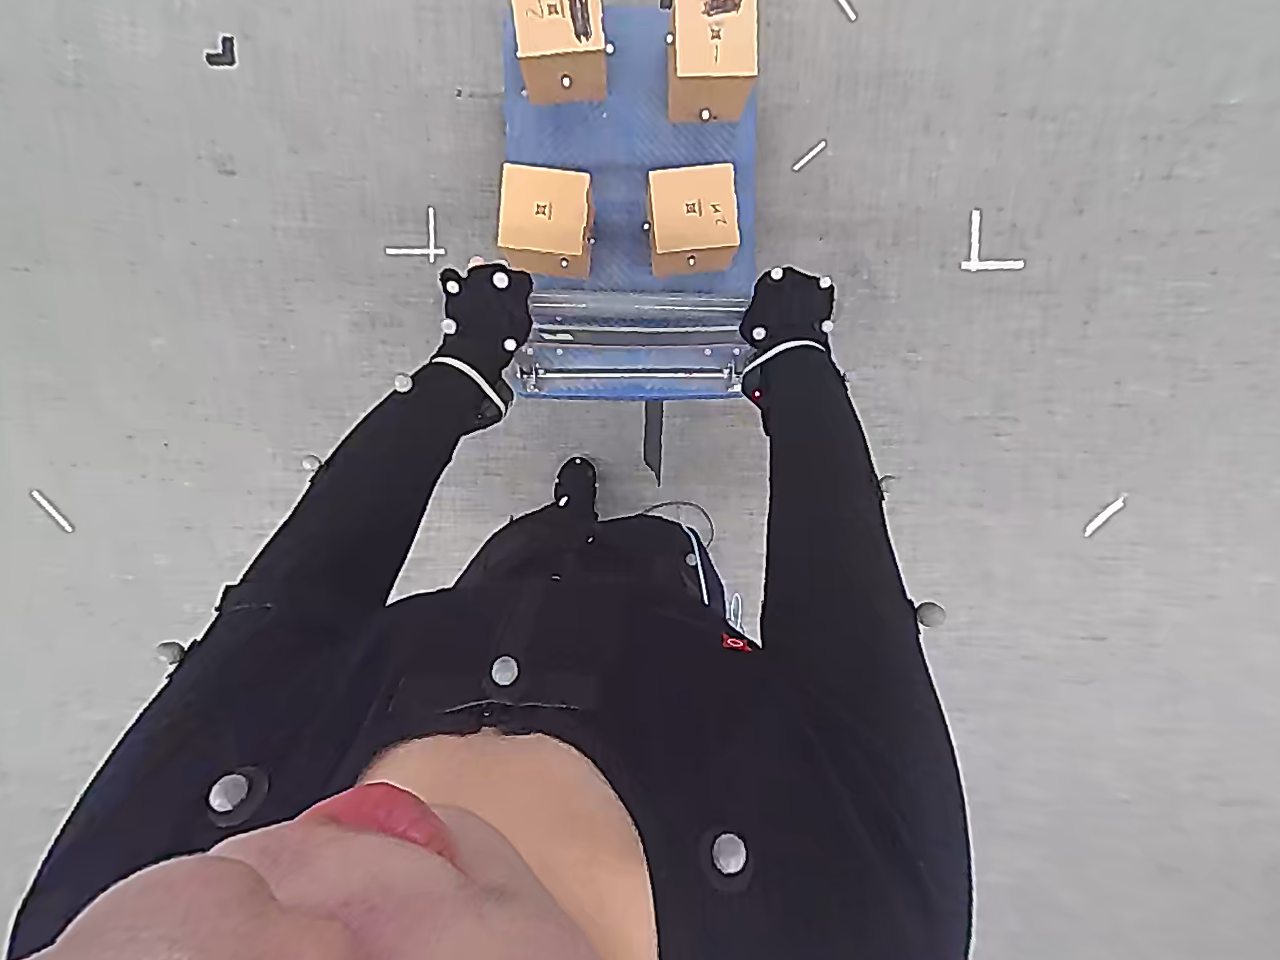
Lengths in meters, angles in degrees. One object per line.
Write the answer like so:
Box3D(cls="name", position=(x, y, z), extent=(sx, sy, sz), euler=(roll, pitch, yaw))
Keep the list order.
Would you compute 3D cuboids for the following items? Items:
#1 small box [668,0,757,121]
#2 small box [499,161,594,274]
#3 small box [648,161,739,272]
Box3D(cls="small box", position=(0.149, -0.908, 1.157), extent=(0.168, 0.176, 0.179), euler=(-2, 96, -2))
Box3D(cls="small box", position=(-0.197, -0.562, 1.179), extent=(0.179, 0.176, 0.168), euler=(5, 95, -3))
Box3D(cls="small box", position=(0.110, -0.566, 1.184), extent=(0.179, 0.176, 0.168), euler=(-6, 95, -1))
